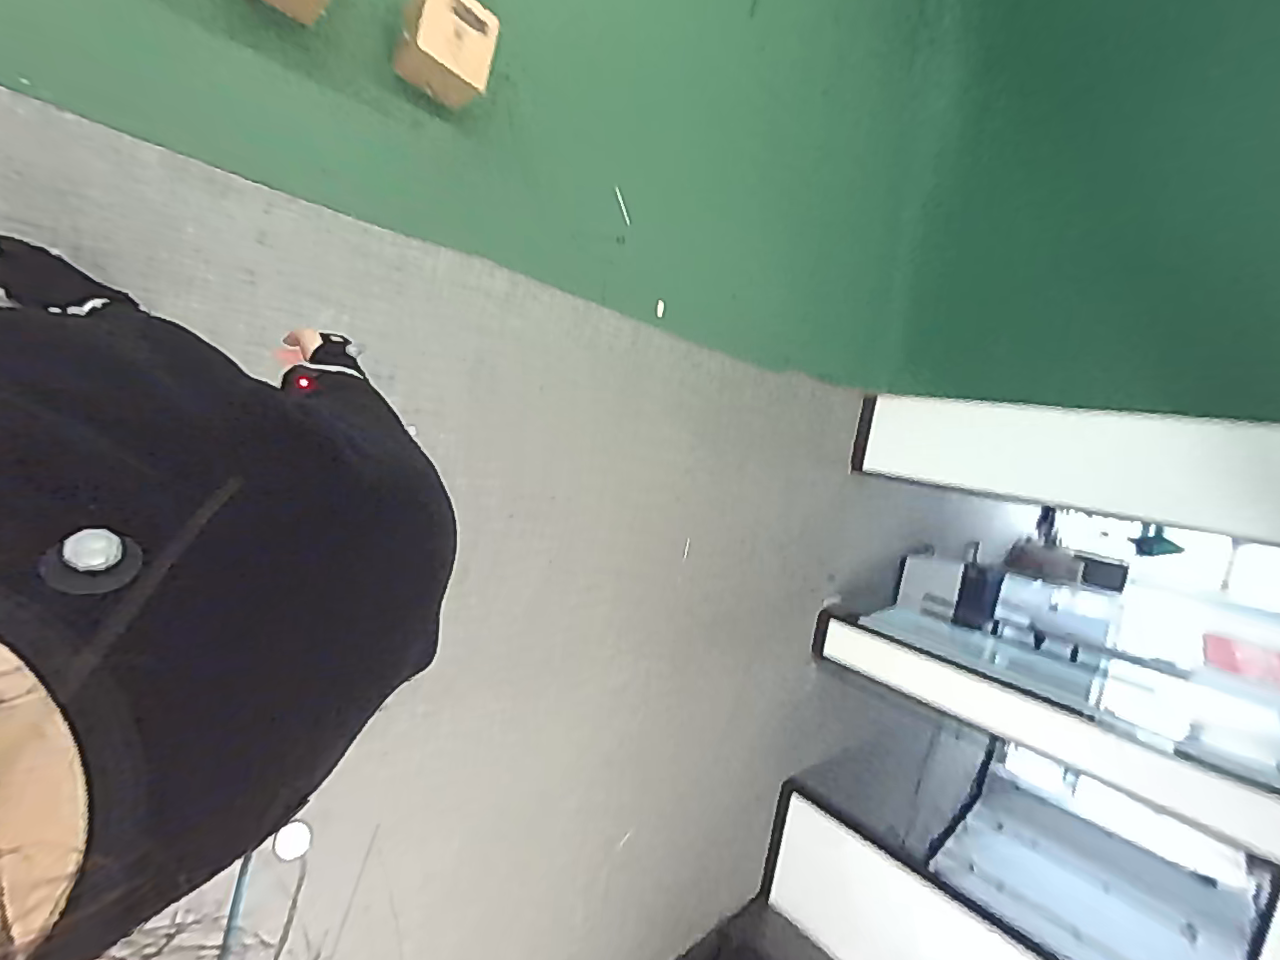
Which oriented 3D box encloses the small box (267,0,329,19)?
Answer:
[{"bbox_3d":[-0.708,-1.061,1.060,0.179,0.176,0.168,6,97,-43],"label":"small box"}]
